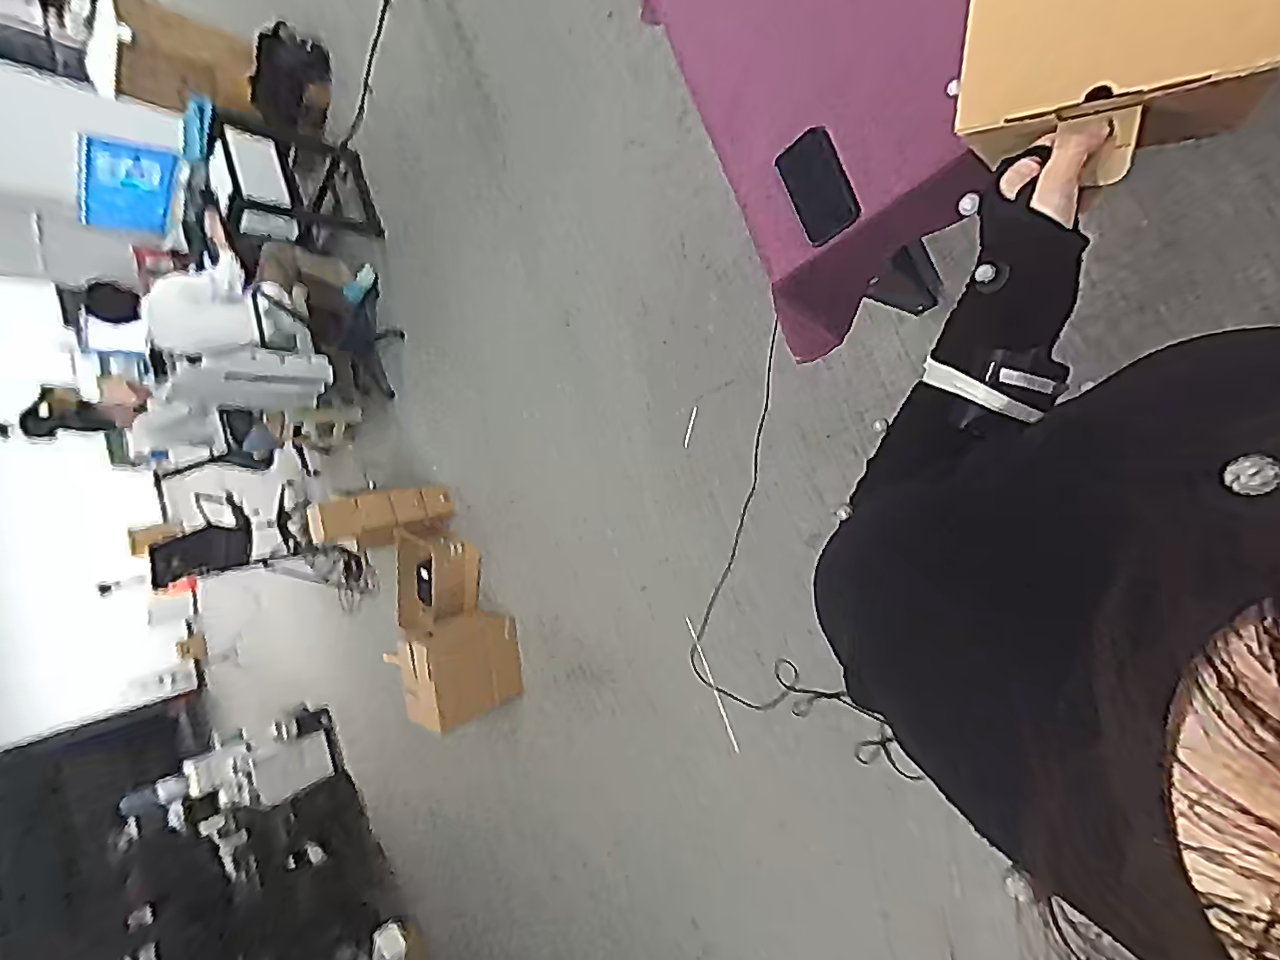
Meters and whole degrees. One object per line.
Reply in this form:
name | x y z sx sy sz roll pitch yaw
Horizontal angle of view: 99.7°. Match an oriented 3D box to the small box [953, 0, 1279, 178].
small box | 0.349 -0.345 0.399 0.168 0.176 0.179 11 112 39
